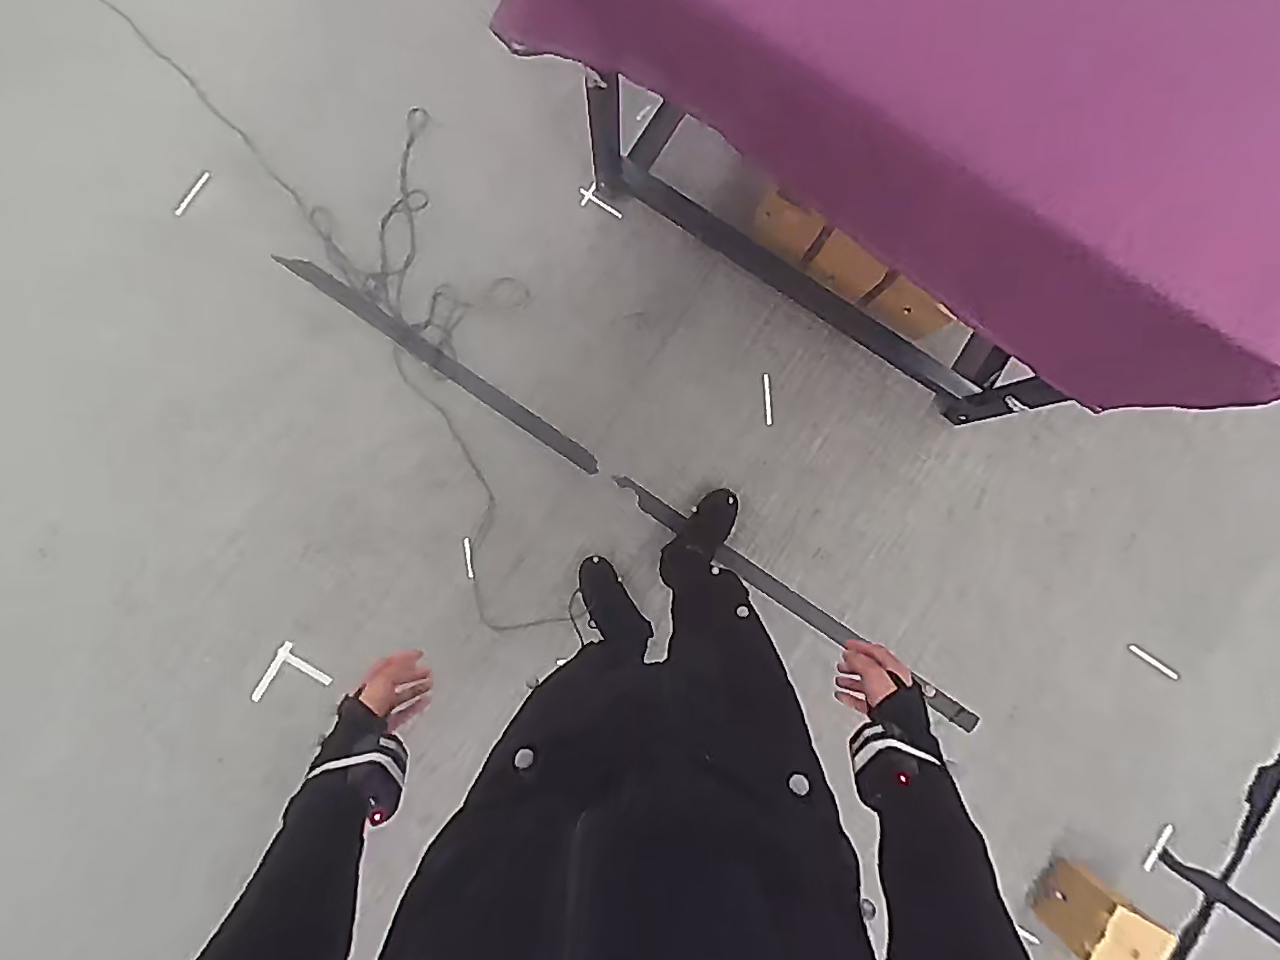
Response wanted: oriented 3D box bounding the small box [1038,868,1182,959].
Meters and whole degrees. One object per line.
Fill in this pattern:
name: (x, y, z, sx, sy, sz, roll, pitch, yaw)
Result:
small box: (1.160, 1.124, 1.347, 0.179, 0.176, 0.168, 30, 88, 1)
